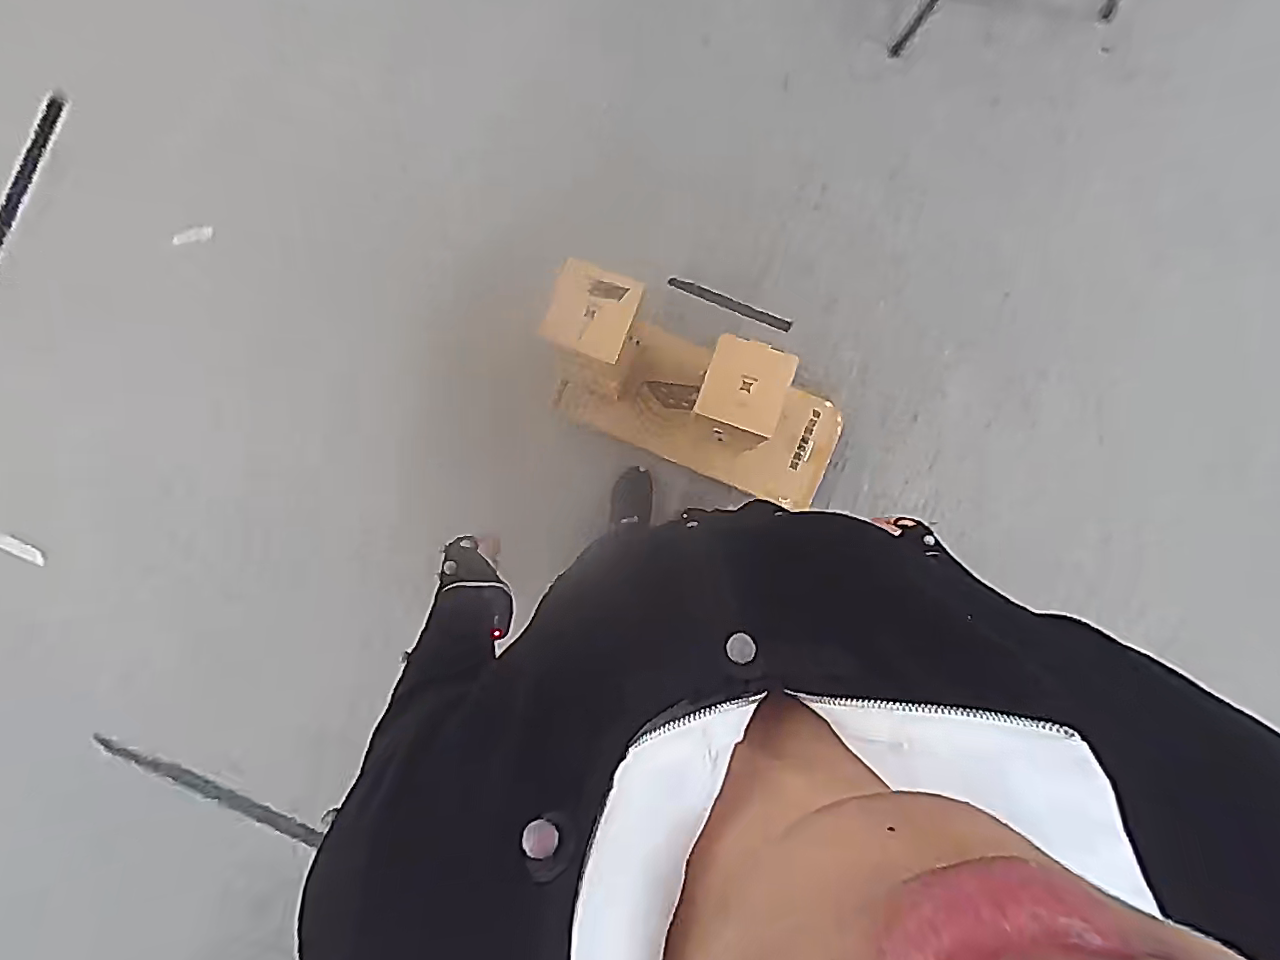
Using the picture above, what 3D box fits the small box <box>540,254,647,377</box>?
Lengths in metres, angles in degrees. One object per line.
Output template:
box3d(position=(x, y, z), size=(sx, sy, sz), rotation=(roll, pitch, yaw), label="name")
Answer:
box3d(position=(-0.095, -0.341, 1.153), size=(0.168, 0.176, 0.179), rotation=(22, 90, 0), label="small box")

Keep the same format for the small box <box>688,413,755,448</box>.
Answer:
box3d(position=(0.223, -0.186, 1.315), size=(0.168, 0.176, 0.179), rotation=(22, 91, 3), label="small box")

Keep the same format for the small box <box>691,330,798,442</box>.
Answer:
box3d(position=(0.211, -0.191, 1.151), size=(0.168, 0.176, 0.179), rotation=(19, 90, 2), label="small box")

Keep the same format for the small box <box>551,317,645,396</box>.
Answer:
box3d(position=(-0.098, -0.324, 1.316), size=(0.168, 0.176, 0.179), rotation=(23, 90, 1), label="small box")
